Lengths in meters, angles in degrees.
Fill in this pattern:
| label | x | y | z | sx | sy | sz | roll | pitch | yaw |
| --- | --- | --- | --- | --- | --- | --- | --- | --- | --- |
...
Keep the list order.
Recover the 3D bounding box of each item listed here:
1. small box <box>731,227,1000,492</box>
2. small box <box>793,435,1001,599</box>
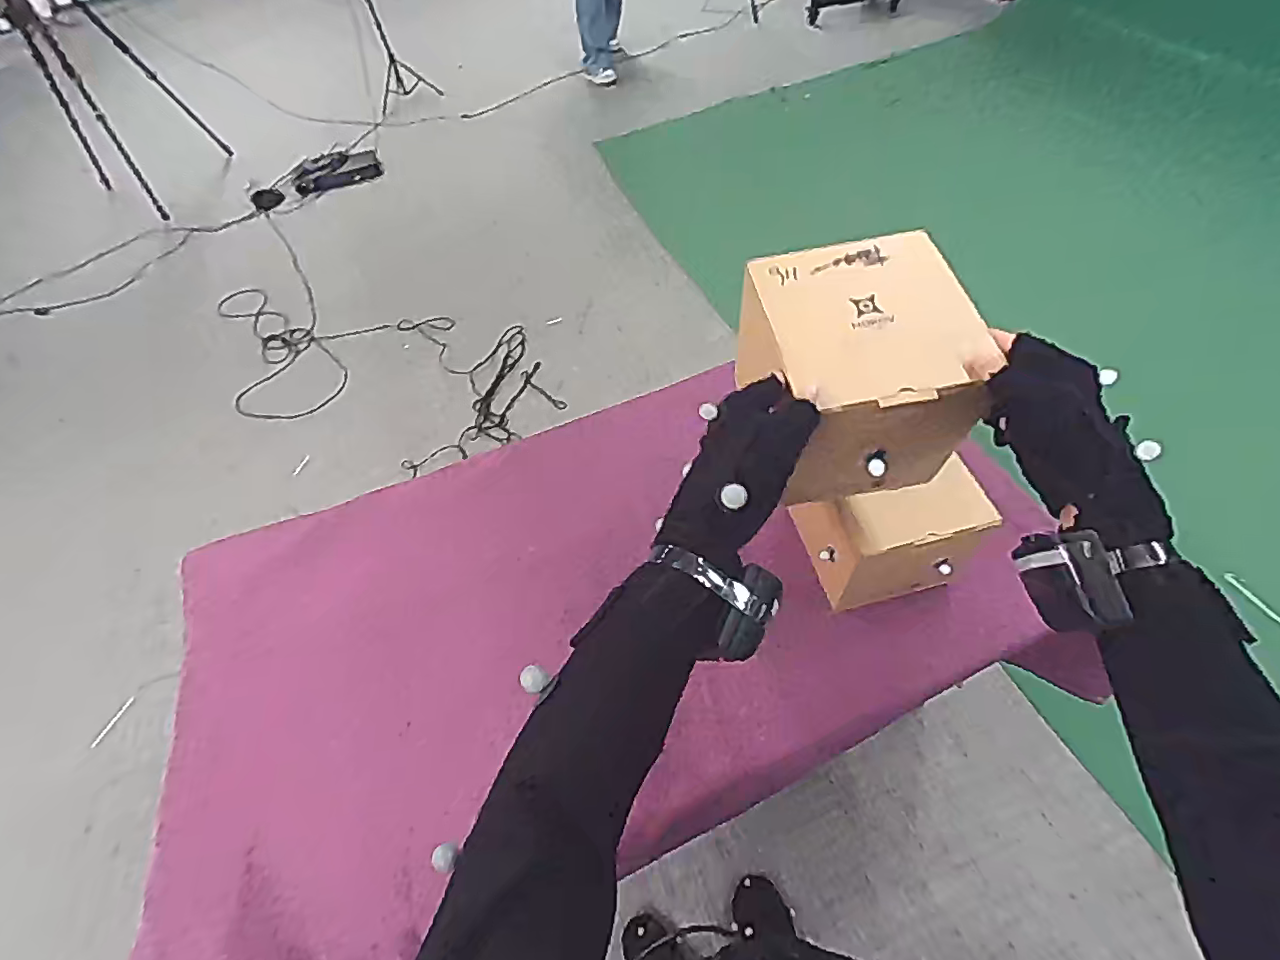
| label | x | y | z | sx | sy | sz | roll | pitch | yaw |
| --- | --- | --- | --- | --- | --- | --- | --- | --- | --- |
| small box | 0.188 | -0.101 | 0.516 | 0.168 | 0.176 | 0.179 | -10 | 62 | 0 |
| small box | 0.312 | 0.040 | 0.703 | 0.168 | 0.176 | 0.179 | -13 | 55 | -1 |
